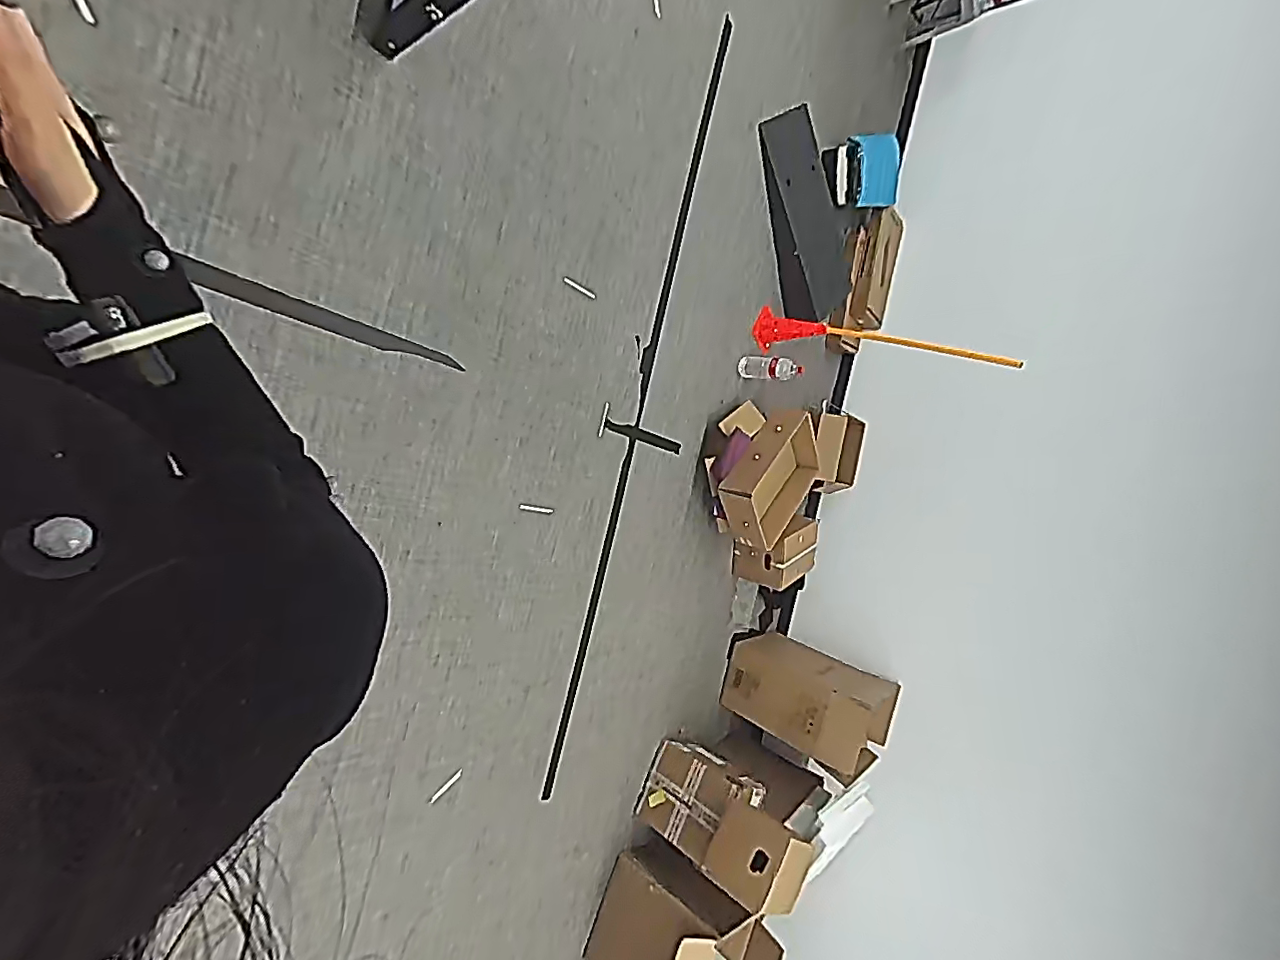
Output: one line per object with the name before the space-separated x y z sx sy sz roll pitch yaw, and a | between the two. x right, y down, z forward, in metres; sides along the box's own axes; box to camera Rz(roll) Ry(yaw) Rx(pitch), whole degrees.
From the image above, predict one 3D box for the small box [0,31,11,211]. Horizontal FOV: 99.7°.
small box | -0.385 -0.230 0.215 0.168 0.176 0.179 -6 98 -49
